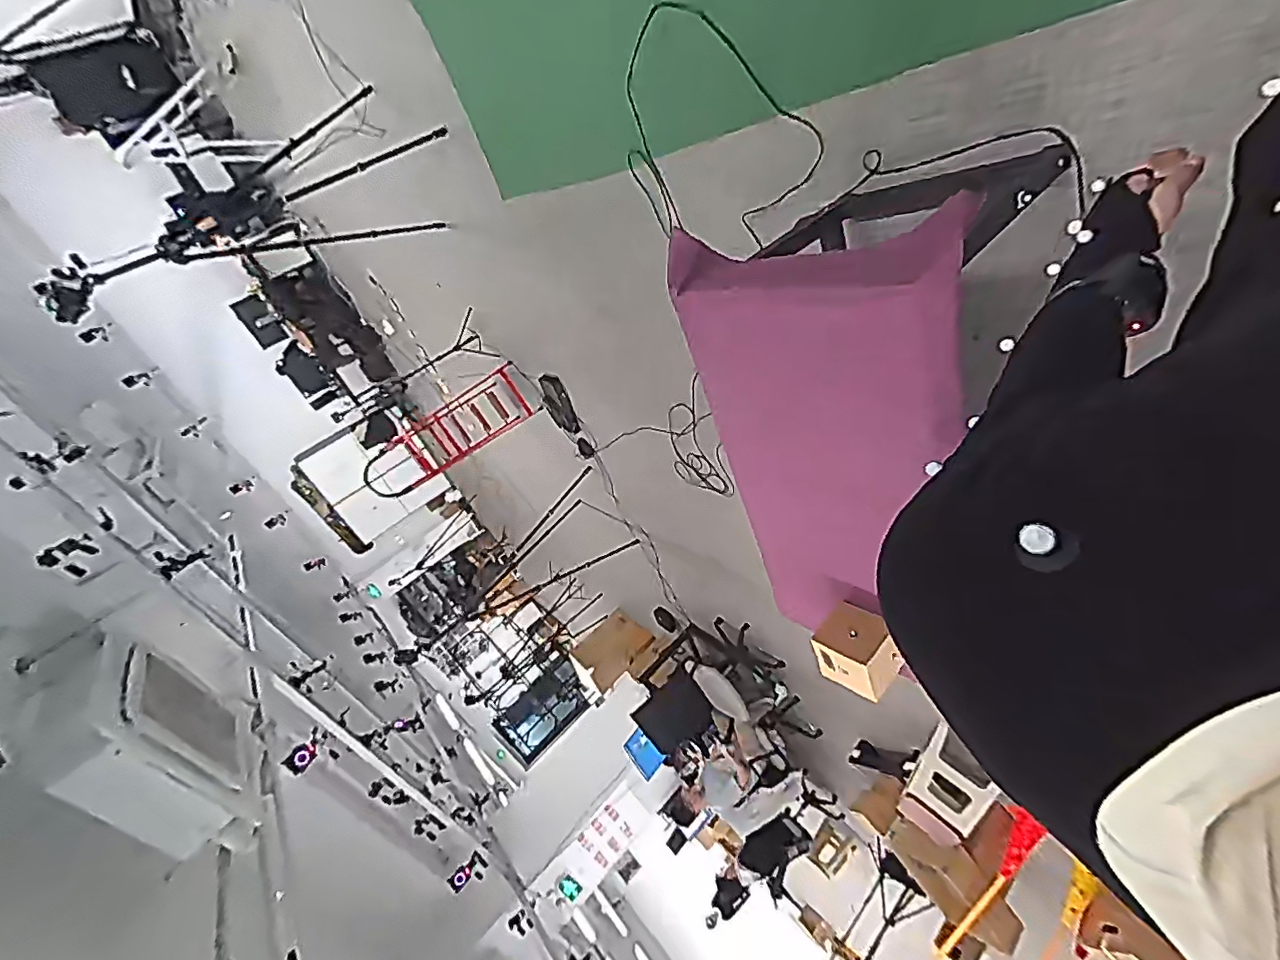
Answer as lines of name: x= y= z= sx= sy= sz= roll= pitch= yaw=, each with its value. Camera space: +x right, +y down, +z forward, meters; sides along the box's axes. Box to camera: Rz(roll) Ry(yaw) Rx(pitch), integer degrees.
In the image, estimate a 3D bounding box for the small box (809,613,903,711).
small box: x=0.611 y=0.504 z=1.527 sx=0.179 sy=0.176 sz=0.168 roll=16 pitch=138 yaw=50
